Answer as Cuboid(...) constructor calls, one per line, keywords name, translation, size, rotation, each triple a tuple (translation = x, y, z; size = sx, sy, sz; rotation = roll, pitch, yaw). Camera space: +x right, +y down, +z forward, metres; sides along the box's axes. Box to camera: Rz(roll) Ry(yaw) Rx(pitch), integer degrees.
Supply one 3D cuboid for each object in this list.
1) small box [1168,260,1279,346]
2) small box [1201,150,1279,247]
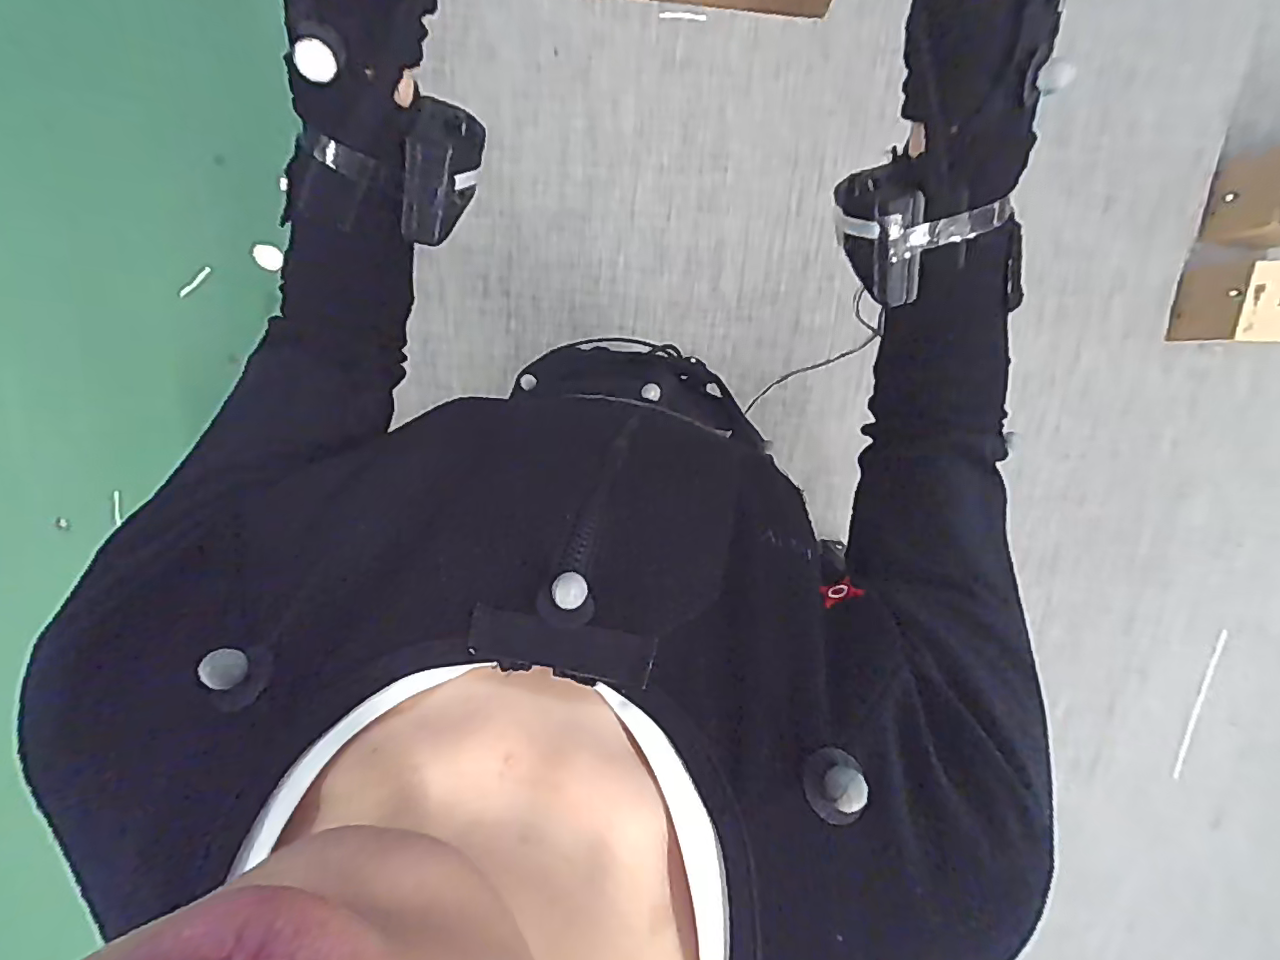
Cuboid(name="small box", translation=(1.374, -0.393, 1.221), size=(0.179, 0.176, 0.168), rotation=(3, 103, 2))
Cuboid(name="small box", translation=(1.403, -0.612, 1.170), size=(0.179, 0.176, 0.168), rotation=(6, 102, 3))
